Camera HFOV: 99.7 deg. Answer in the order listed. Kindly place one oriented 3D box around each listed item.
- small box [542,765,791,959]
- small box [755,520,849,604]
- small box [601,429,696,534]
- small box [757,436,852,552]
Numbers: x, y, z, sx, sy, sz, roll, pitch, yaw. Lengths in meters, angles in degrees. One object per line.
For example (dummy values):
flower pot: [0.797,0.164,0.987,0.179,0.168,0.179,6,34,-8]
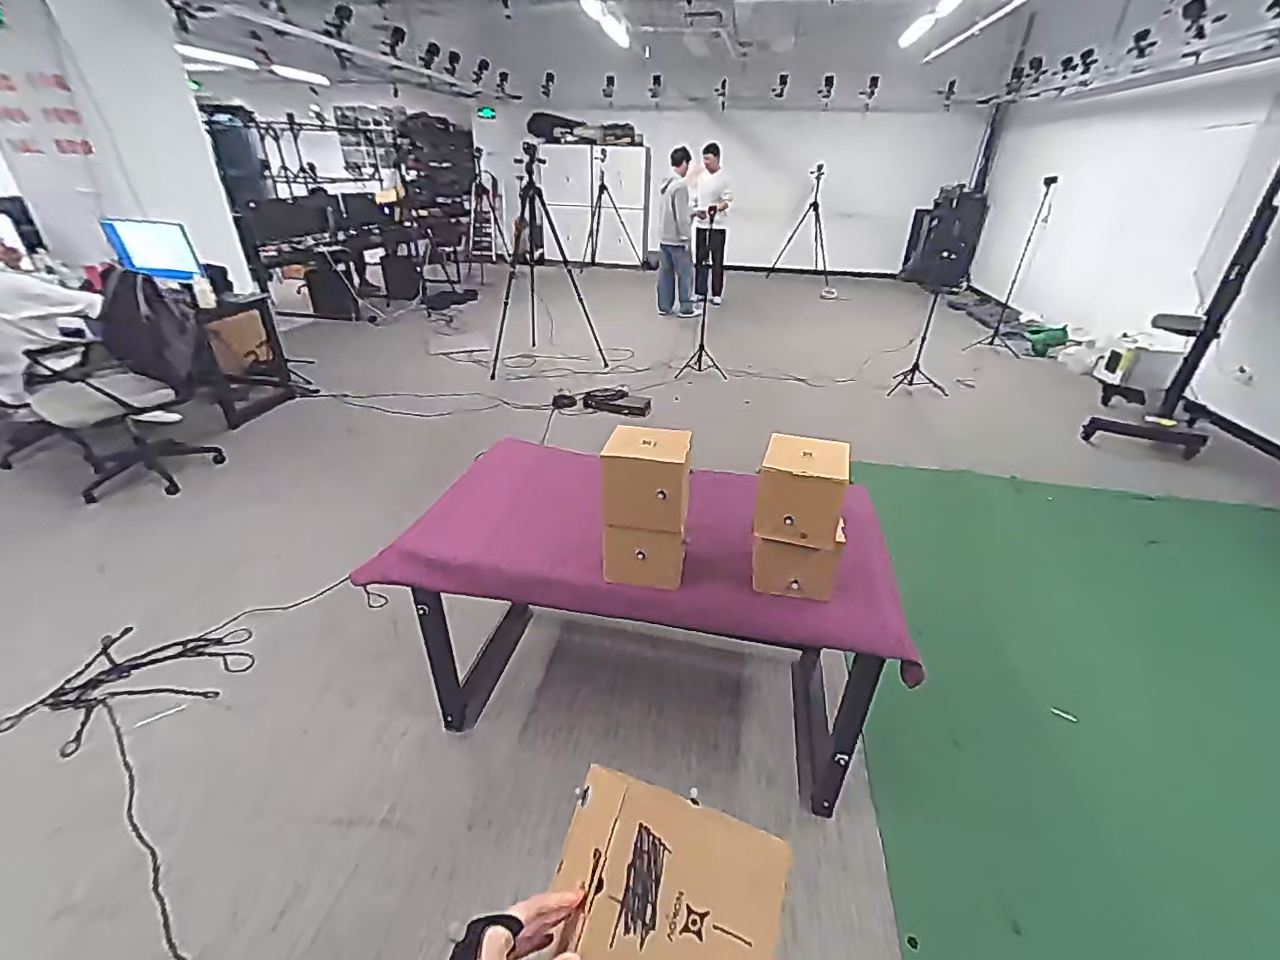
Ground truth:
small box: [0.017,0.398,0.535,0.179,0.176,0.168,25,63,-6]
small box: [0.363,0.162,1.237,0.179,0.176,0.168,6,28,10]
small box: [0.022,0.002,1.178,0.179,0.176,0.168,6,28,11]
small box: [0.347,0.027,1.145,0.168,0.176,0.179,9,30,17]
